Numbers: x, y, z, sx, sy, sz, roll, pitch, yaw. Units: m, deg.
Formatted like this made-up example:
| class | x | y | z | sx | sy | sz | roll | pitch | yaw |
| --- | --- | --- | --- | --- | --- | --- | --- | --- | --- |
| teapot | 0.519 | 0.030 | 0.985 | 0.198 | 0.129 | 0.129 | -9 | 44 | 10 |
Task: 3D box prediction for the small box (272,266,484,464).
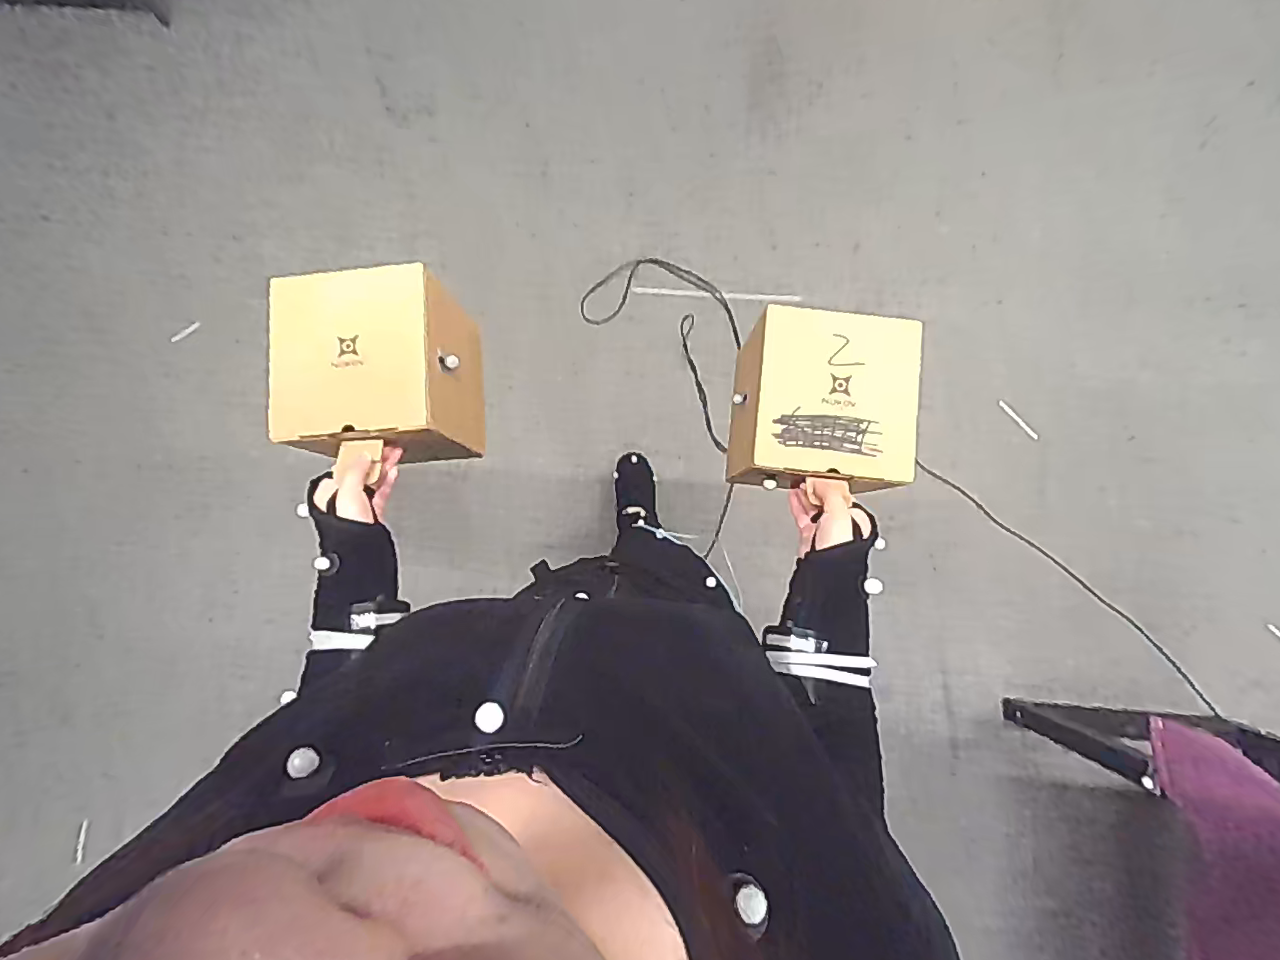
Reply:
| class | x | y | z | sx | sy | sz | roll | pitch | yaw |
| --- | --- | --- | --- | --- | --- | --- | --- | --- | --- |
| small box | -0.288 | -0.121 | 0.628 | 0.168 | 0.176 | 0.179 | -4 | 83 | 2 |
